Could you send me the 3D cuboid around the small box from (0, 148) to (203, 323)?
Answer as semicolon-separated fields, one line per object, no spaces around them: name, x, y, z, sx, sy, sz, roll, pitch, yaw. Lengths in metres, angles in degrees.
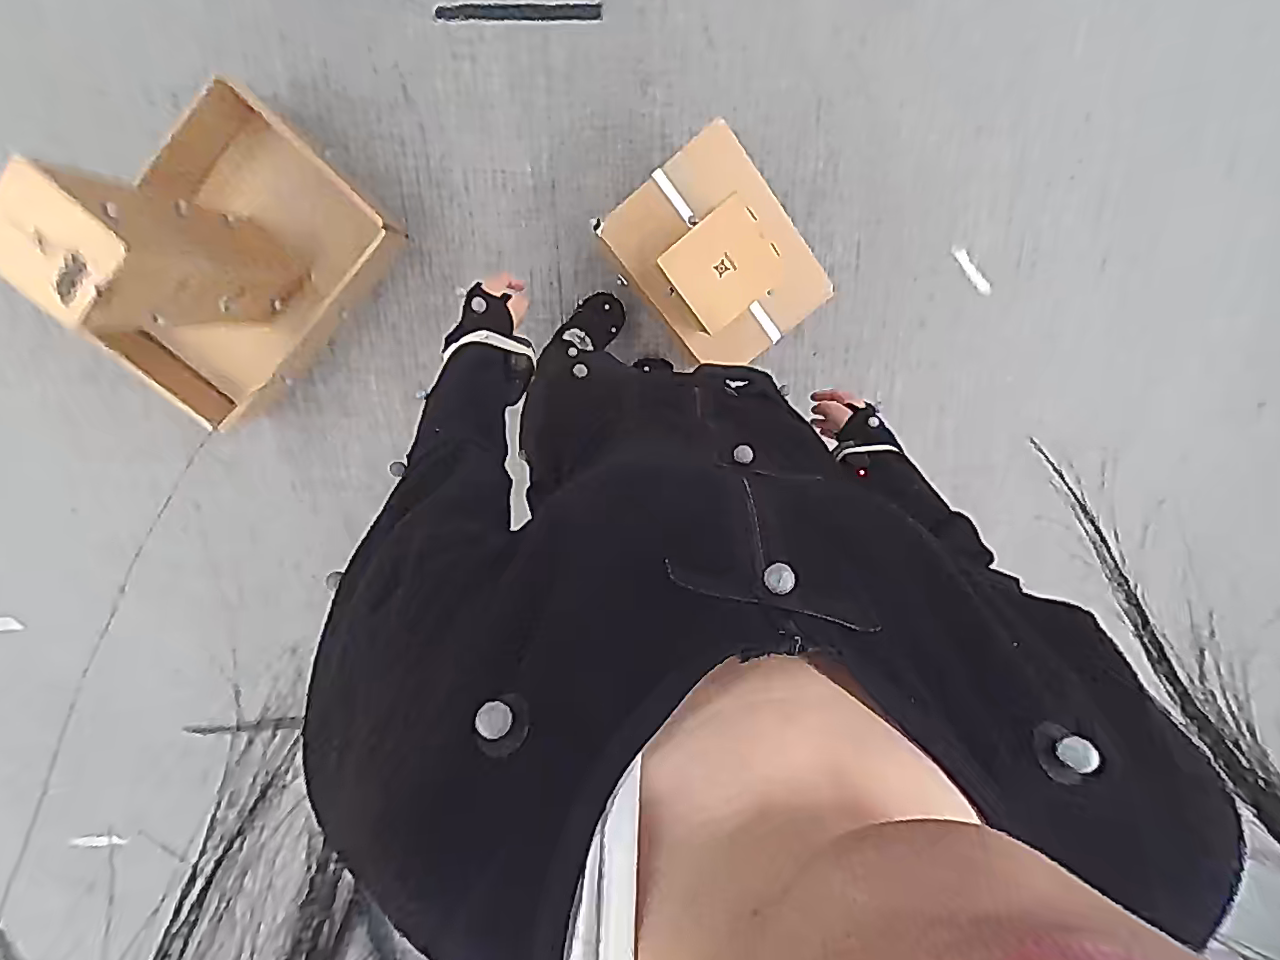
small box;-0.861;-0.373;0.855;0.168;0.176;0.179;-43;104;9

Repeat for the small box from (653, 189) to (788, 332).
small box;0.137;-0.394;1.000;0.179;0.176;0.168;-39;107;8

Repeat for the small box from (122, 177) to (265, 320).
small box;-0.868;-0.420;1.013;0.168;0.176;0.179;-42;107;9

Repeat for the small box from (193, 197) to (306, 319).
small box;-0.880;-0.466;1.168;0.168;0.176;0.179;-40;106;9
